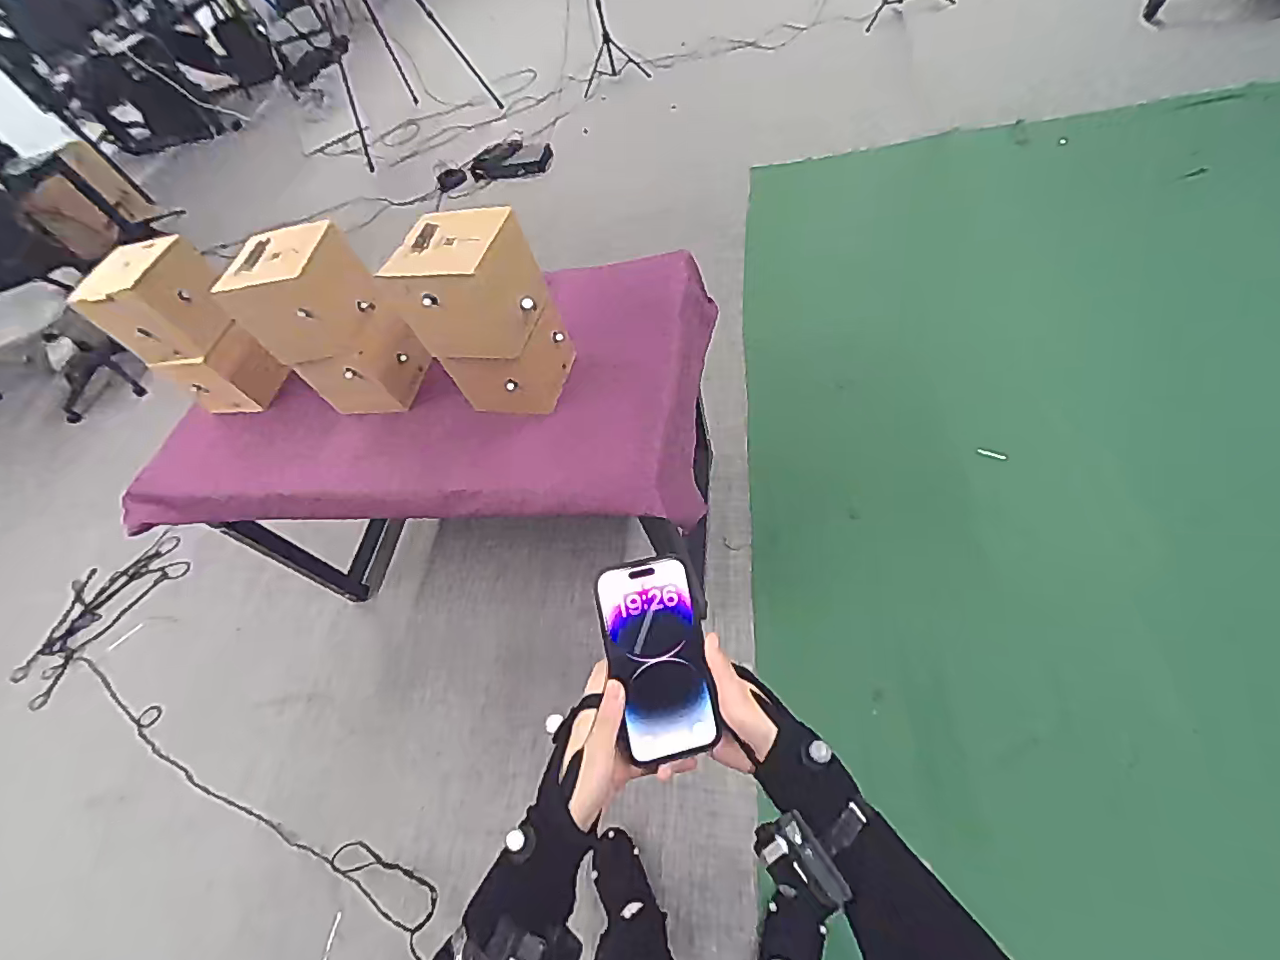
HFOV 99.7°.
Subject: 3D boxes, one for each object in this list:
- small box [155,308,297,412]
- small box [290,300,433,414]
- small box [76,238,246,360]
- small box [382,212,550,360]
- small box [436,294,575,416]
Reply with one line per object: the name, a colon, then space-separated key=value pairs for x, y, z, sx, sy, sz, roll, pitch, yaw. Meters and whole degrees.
small box: x=-0.944 y=-0.270 z=1.255 sx=0.168 sy=0.176 sz=0.179 roll=1 pitch=57 yaw=16
small box: x=-0.571 y=-0.252 z=1.138 sx=0.179 sy=0.176 sz=0.168 roll=0 pitch=57 yaw=16
small box: x=-0.980 y=-0.367 z=1.127 sx=0.168 sy=0.176 sz=0.179 roll=-3 pitch=57 yaw=13
small box: x=-0.276 y=-0.316 z=0.898 sx=0.179 sy=0.176 sz=0.168 roll=6 pitch=58 yaw=18
small box: x=-0.245 y=-0.239 z=1.040 sx=0.179 sy=0.176 sz=0.168 roll=5 pitch=58 yaw=19
